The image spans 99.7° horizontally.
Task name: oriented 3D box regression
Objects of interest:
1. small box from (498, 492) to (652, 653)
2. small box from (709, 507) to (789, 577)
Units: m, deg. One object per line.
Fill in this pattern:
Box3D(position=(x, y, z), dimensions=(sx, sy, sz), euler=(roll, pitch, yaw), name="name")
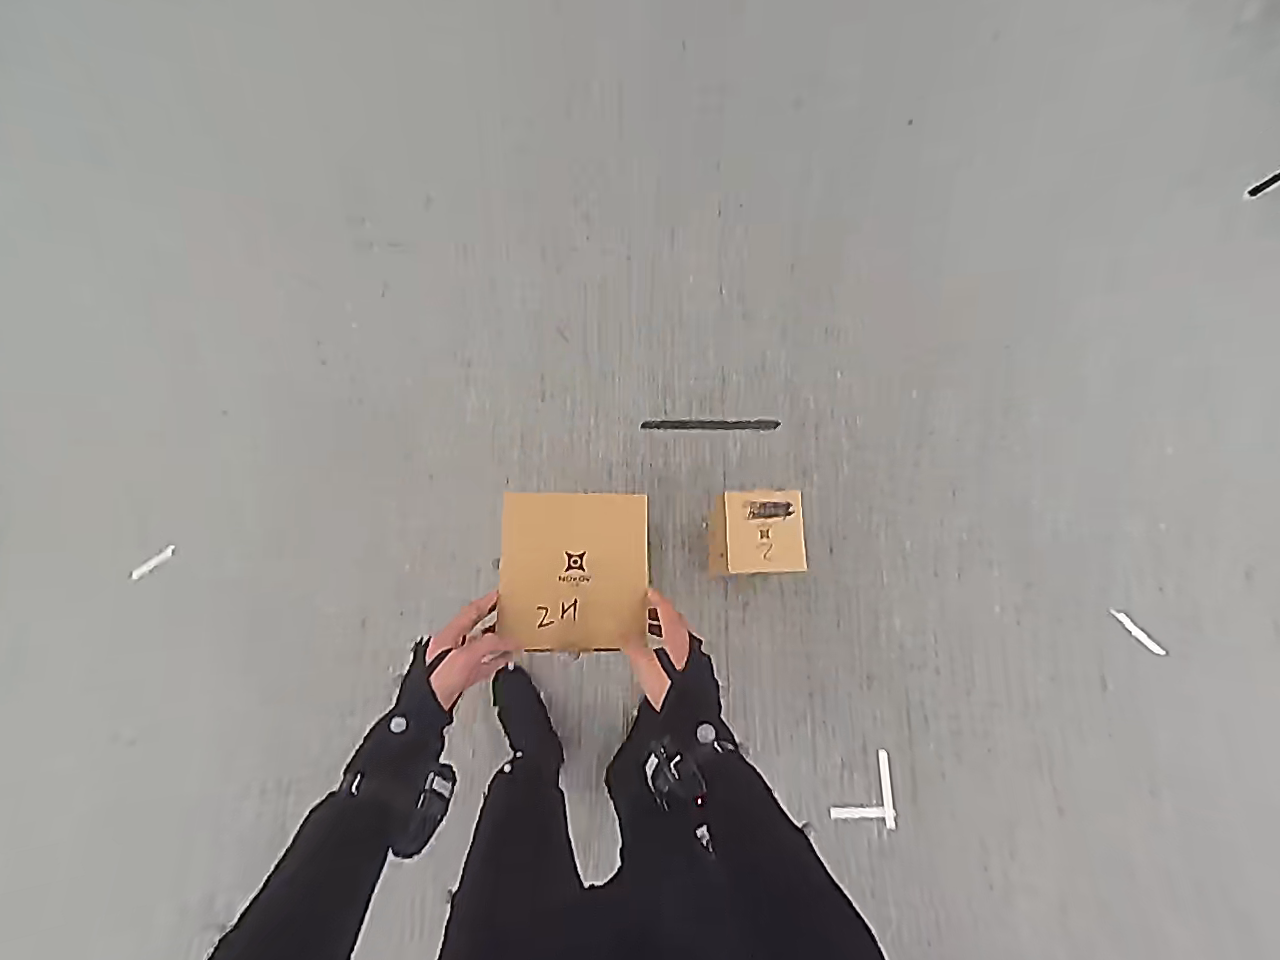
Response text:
Box3D(position=(-0.076, 0.120, 0.677), dimensions=(0.168, 0.176, 0.179), euler=(2, 76, -4), name="small box")
Box3D(position=(0.270, 0.163, 1.382), dimensions=(0.179, 0.176, 0.168), euler=(0, 78, -1), name="small box")
